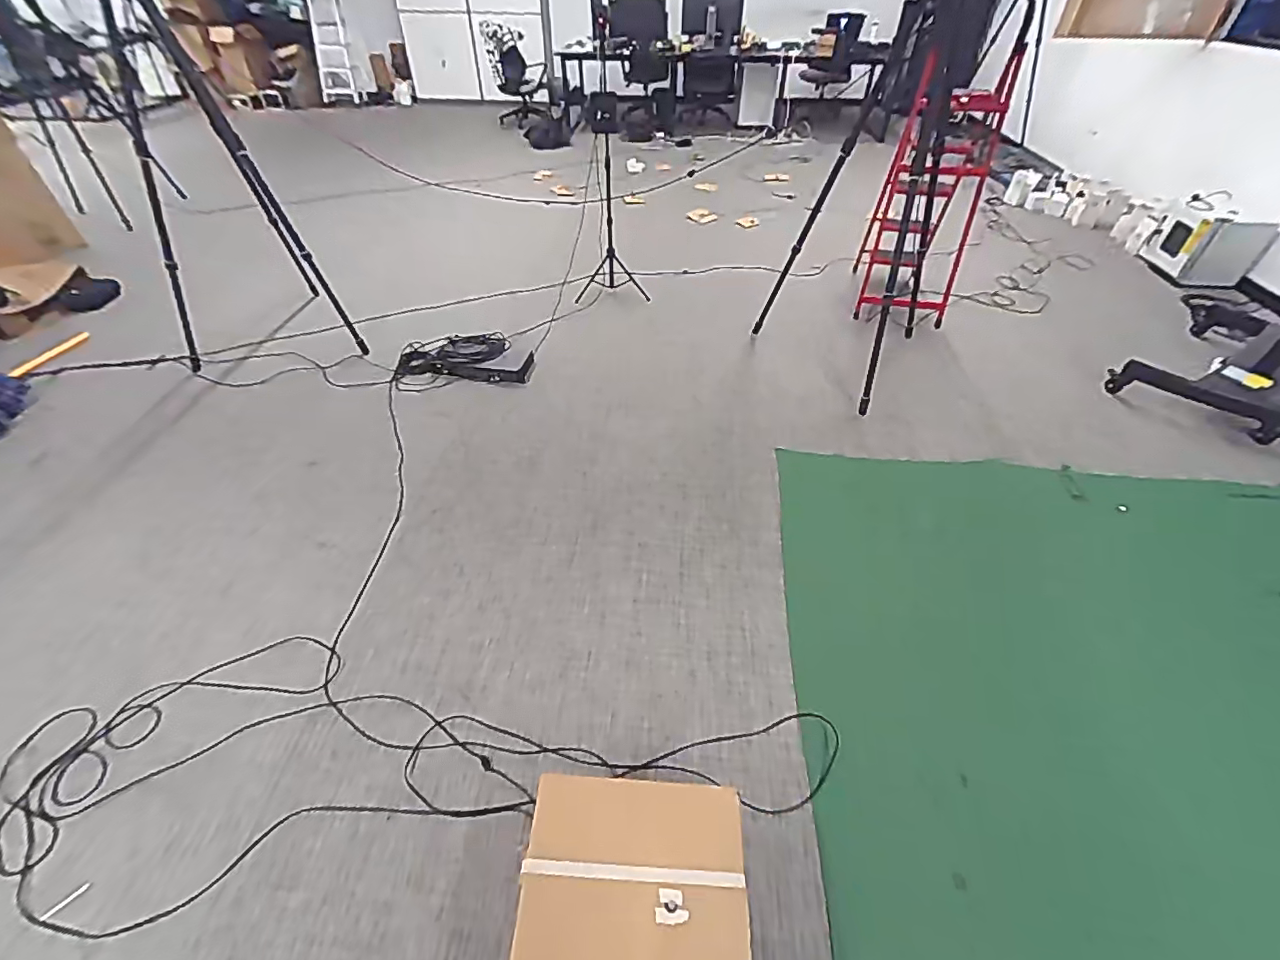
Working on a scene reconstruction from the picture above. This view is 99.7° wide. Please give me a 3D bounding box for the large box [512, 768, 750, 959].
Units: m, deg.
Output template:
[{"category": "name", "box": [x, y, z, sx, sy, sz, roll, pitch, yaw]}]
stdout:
[{"category": "large box", "box": [-0.018, 0.812, 1.096, 0.408, 0.320, 0.320, 4, 45, 0]}]
